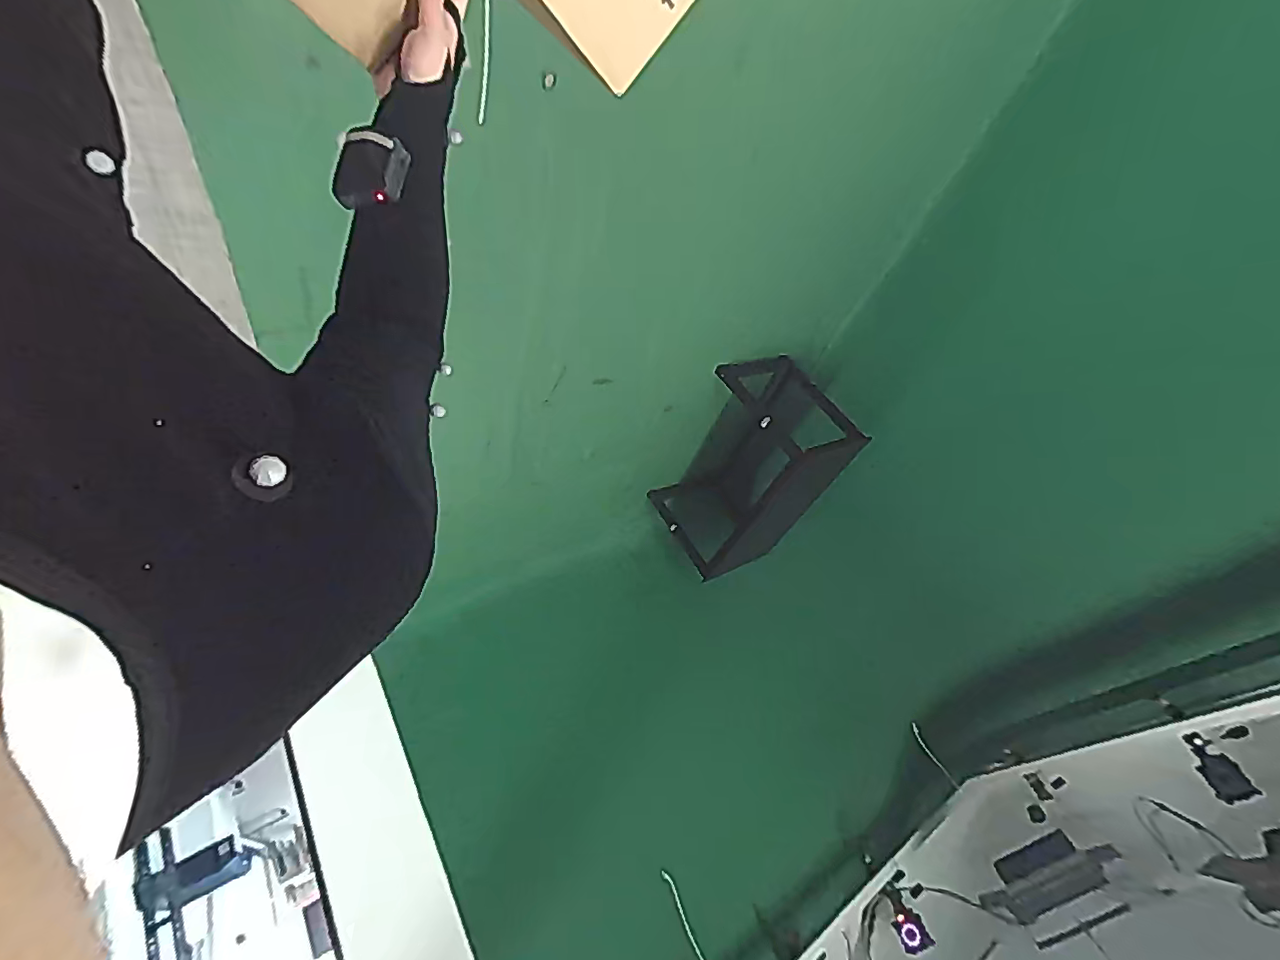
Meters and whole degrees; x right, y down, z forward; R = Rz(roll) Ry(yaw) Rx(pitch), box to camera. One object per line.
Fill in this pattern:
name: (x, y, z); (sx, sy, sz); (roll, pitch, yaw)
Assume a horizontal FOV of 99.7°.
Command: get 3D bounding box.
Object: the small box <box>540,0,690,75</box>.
small box: (-0.039, -0.347, 0.239); (0.168, 0.176, 0.179); (-43, 155, 19)
